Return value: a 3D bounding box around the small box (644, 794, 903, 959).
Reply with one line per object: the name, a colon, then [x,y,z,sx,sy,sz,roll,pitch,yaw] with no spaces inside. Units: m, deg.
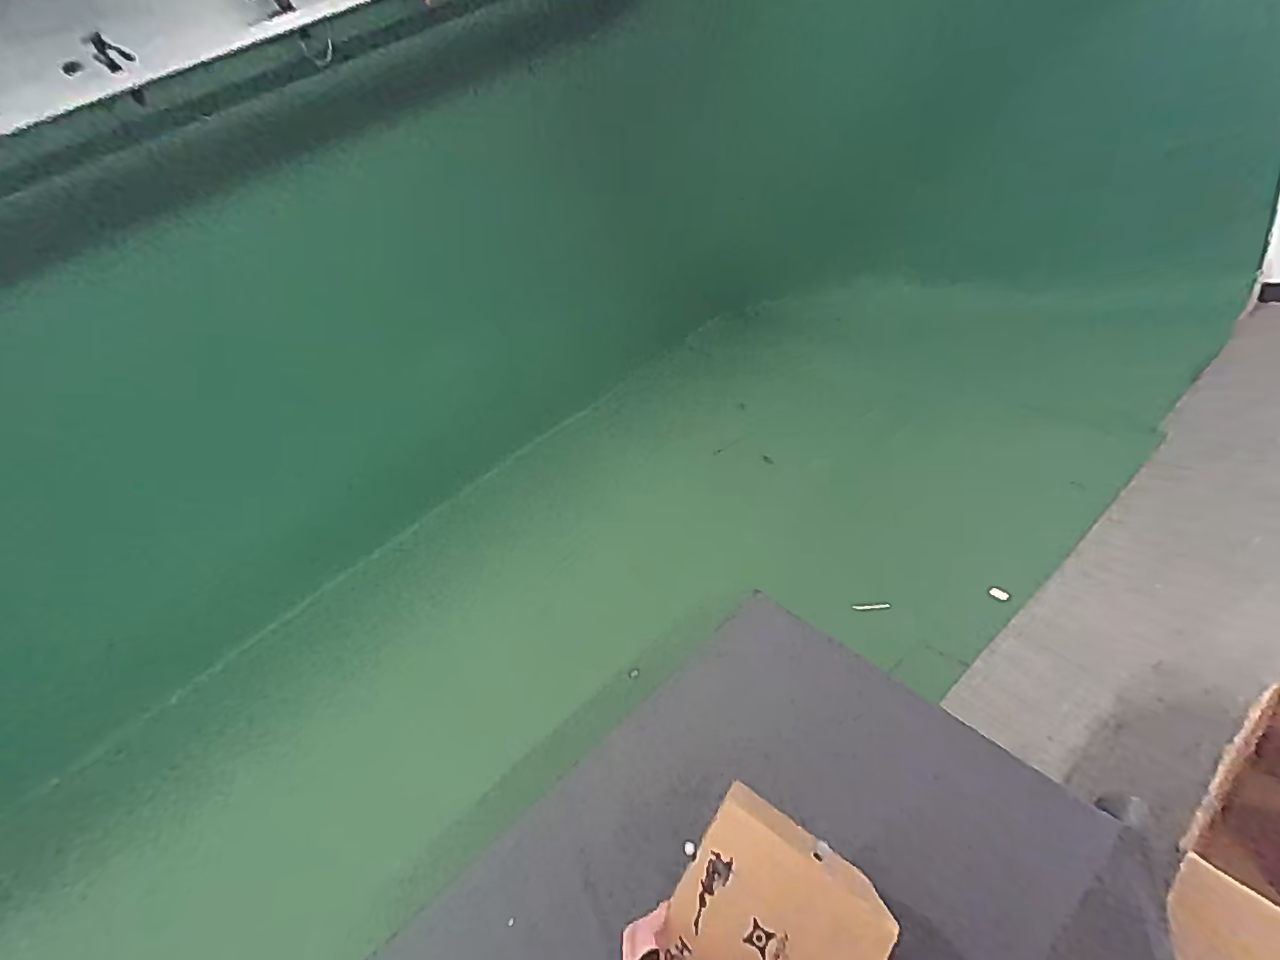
small box: [0.128,0.451,0.549,0.179,0.176,0.168,29,75,21]
